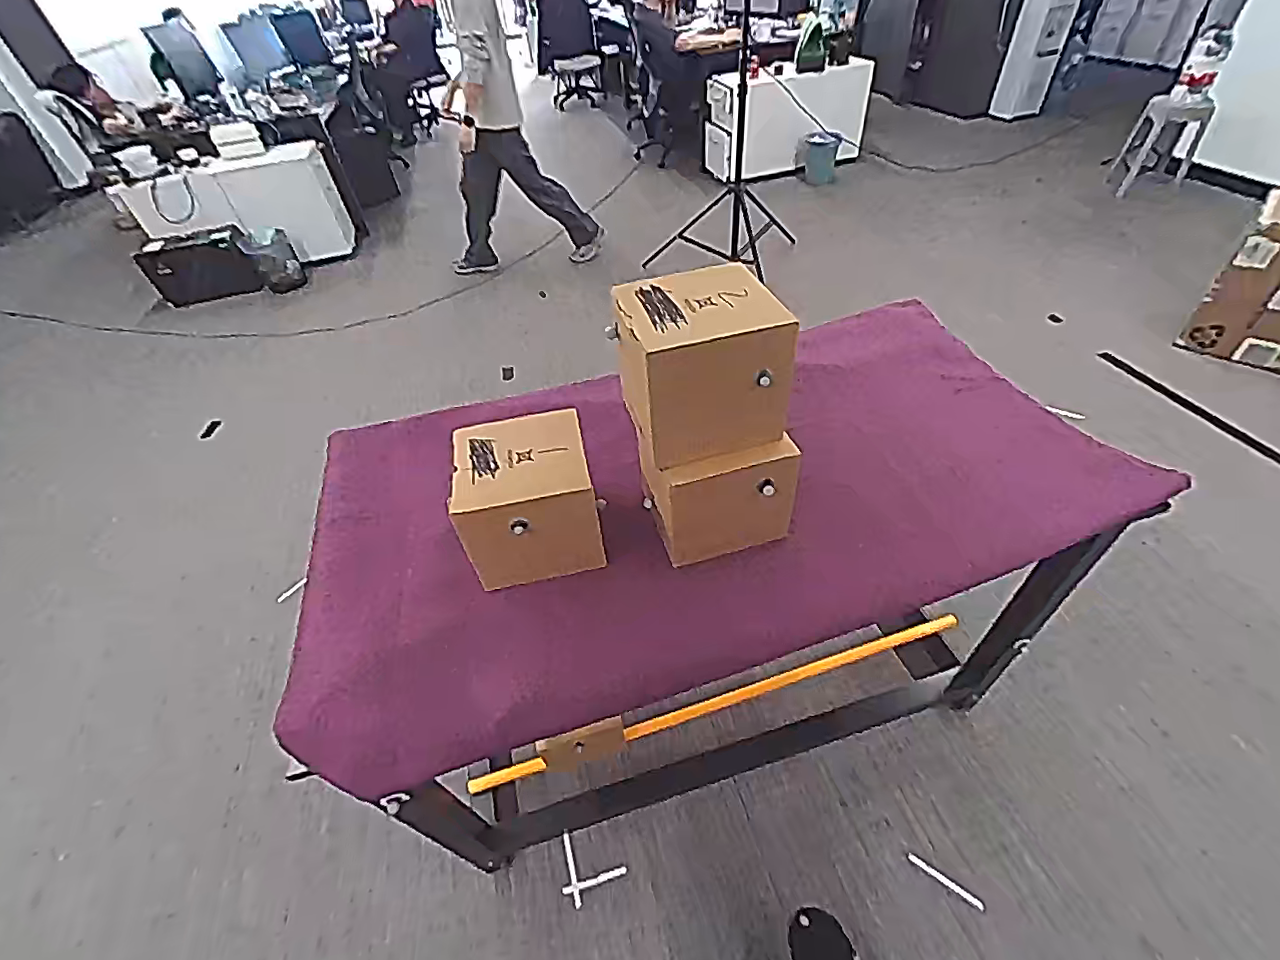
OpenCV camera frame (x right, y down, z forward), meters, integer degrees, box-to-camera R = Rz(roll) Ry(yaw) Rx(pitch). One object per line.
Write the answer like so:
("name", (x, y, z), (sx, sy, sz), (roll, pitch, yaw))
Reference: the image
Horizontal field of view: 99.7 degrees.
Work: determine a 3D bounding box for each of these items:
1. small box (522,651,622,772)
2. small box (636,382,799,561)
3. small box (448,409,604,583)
("small box", (-0.142, 0.502, 1.170), (0.179, 0.176, 0.168), (-15, 48, -9))
("small box", (0.102, -0.011, 0.774), (0.179, 0.176, 0.168), (-14, 45, -8))
("small box", (-0.155, 0.025, 0.766), (0.179, 0.176, 0.168), (-10, 45, -6))
